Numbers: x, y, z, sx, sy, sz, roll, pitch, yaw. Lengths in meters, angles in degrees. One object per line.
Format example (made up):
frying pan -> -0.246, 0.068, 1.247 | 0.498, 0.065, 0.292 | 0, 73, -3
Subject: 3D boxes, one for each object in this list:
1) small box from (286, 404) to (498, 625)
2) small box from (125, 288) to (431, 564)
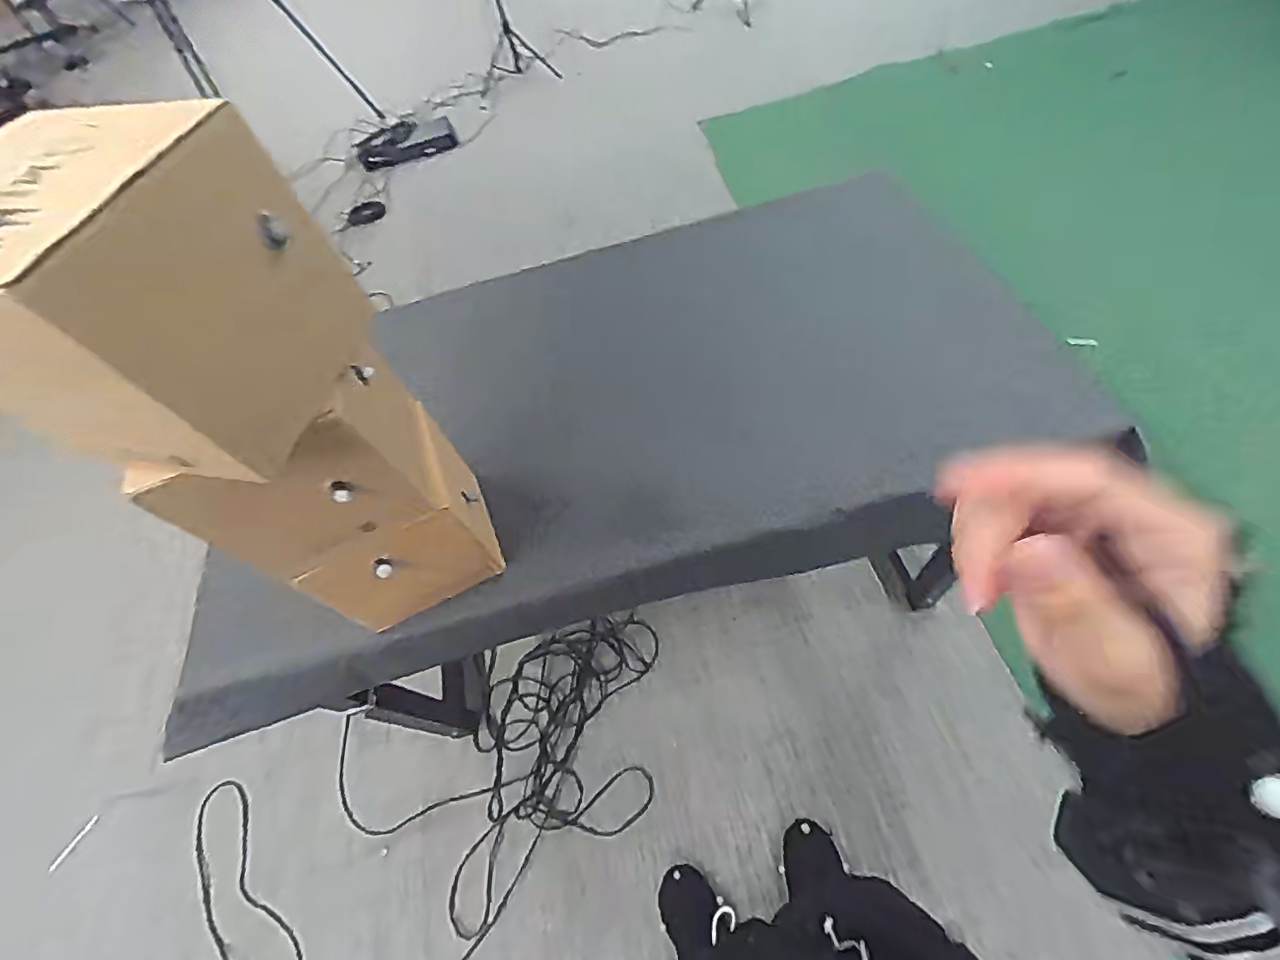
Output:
small box -> -0.287, 0.047, 0.647 | 0.179, 0.176, 0.168 | -25, 57, -6
small box -> -0.319, -0.040, 0.513 | 0.168, 0.176, 0.179 | -23, 56, -5
